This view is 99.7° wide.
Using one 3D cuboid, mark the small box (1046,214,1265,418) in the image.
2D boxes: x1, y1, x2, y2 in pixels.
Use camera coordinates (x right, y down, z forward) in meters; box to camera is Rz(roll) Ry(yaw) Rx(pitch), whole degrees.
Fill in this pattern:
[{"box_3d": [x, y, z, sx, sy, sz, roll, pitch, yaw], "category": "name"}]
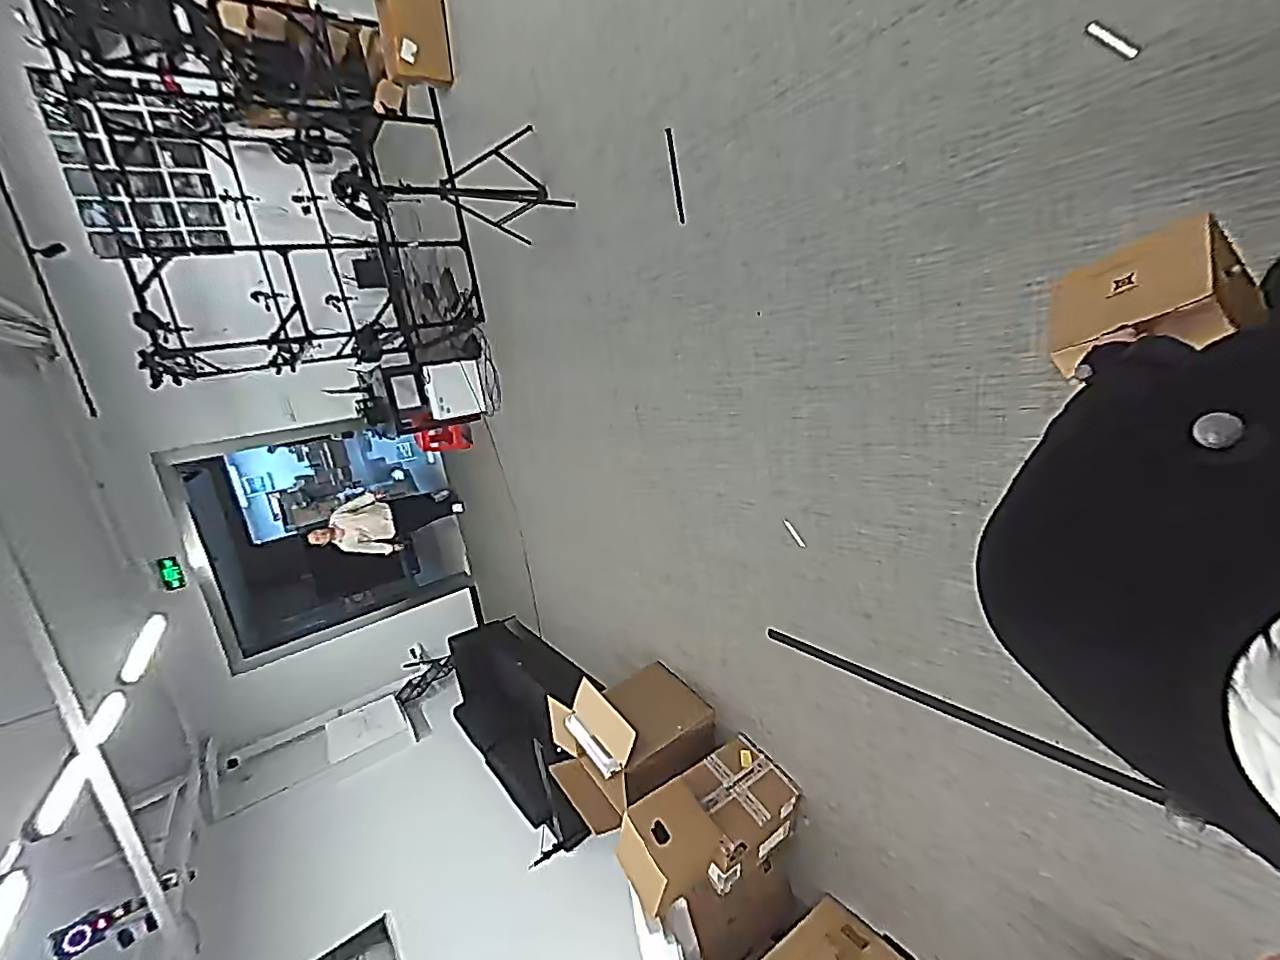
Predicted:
[{"box_3d": [0.693, -0.204, 0.731, 0.176, 0.179, 0.168, 38, 153, -18], "category": "small box"}]
